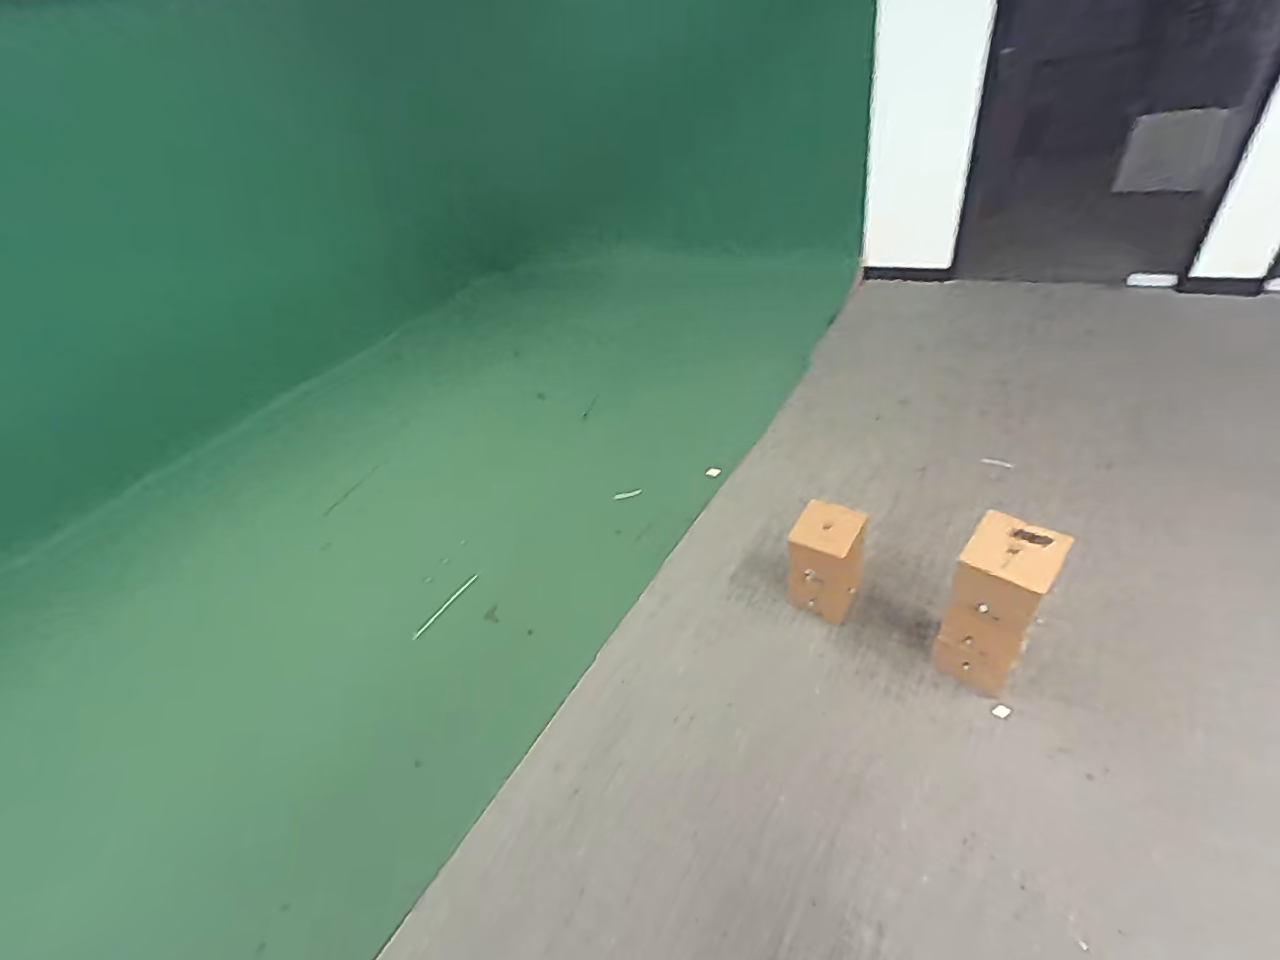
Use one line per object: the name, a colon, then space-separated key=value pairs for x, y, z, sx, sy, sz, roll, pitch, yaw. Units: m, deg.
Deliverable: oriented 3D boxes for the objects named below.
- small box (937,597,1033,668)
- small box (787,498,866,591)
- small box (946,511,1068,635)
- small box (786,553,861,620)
small box: x=0.857 y=0.321 z=1.332 sx=0.168 sy=0.176 sz=0.179 roll=26 pitch=57 yaw=37
small box: x=0.540 y=0.188 z=1.572 sx=0.168 sy=0.176 sz=0.179 roll=18 pitch=53 yaw=34
small box: x=0.817 y=0.209 z=1.218 sx=0.168 sy=0.176 sz=0.179 roll=27 pitch=59 yaw=38
small box: x=0.572 y=0.303 z=1.683 sx=0.168 sy=0.176 sz=0.179 roll=22 pitch=55 yaw=35
